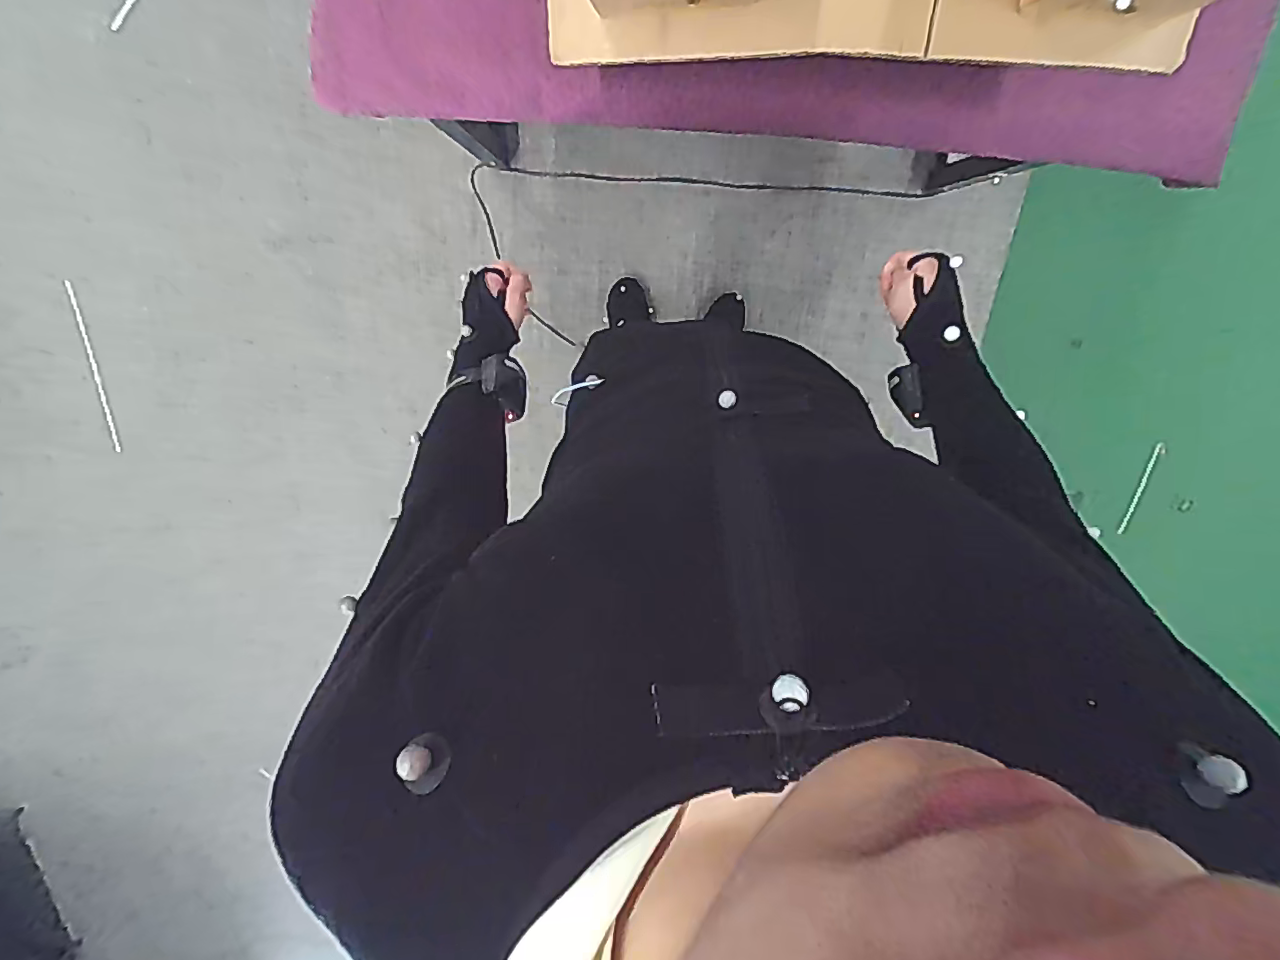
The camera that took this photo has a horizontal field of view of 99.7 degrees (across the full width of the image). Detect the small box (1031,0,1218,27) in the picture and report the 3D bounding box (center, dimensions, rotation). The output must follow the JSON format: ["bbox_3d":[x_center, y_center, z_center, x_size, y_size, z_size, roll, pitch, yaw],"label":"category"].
[{"bbox_3d":[0.474,-0.523,0.449,0.168,0.176,0.179,-1,112,-5],"label":"small box"}]
